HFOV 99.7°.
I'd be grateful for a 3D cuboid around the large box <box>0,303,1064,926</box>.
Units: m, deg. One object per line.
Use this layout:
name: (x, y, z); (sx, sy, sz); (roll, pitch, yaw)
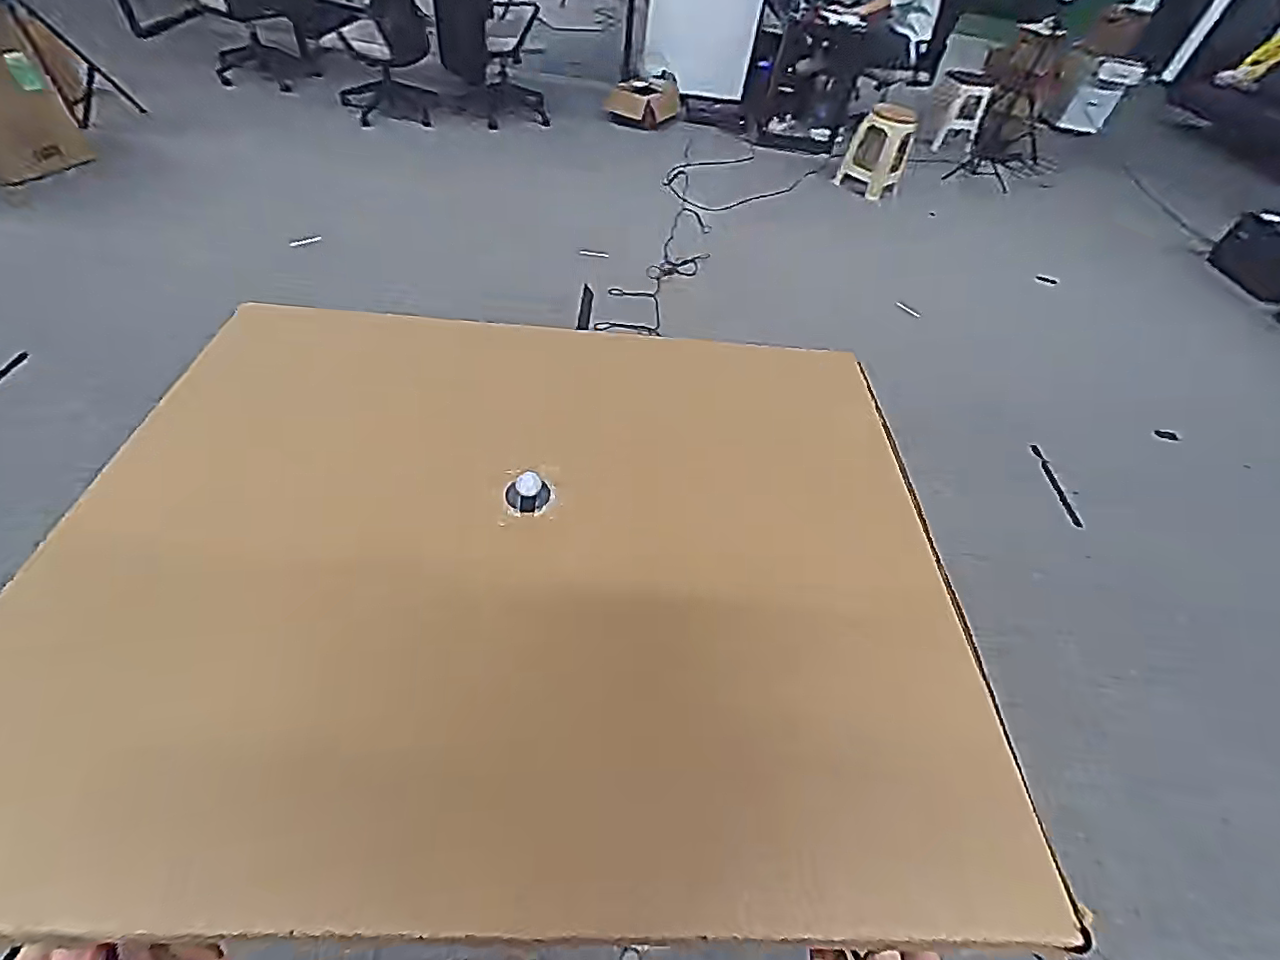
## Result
large box: (-0.068, 0.102, 0.376); (0.408, 0.320, 0.320); (3, 51, -3)
